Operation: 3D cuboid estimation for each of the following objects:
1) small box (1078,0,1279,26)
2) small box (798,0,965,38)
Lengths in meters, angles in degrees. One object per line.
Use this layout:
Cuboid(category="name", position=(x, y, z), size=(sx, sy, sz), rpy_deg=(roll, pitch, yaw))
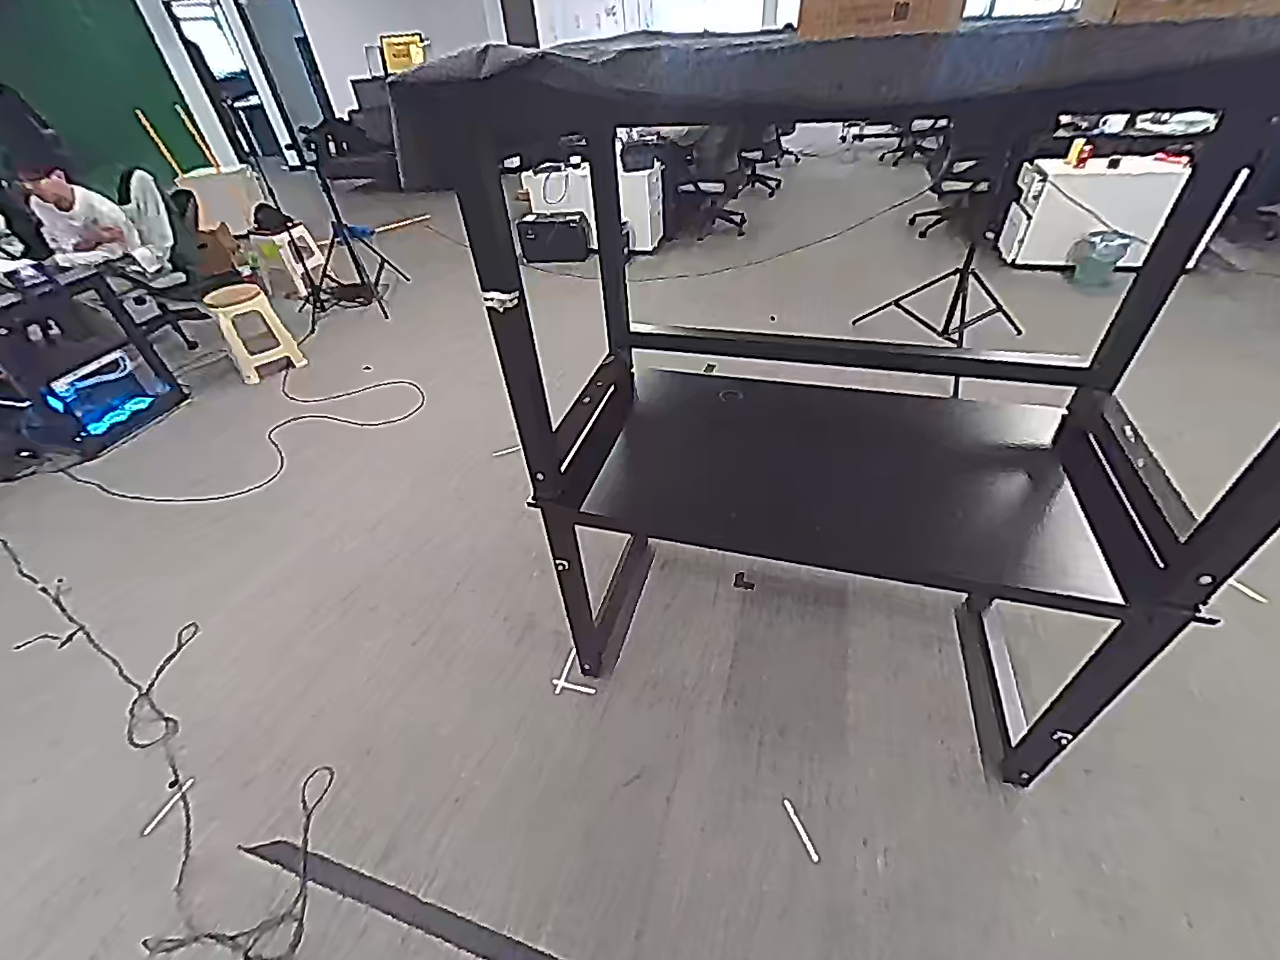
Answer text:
Cuboid(category="small box", position=(0.557, -0.546, 0.508), size=(0.168, 0.176, 0.179), rpy_deg=(11, 41, 18))
Cuboid(category="small box", position=(0.270, -0.588, 0.581), size=(0.168, 0.176, 0.179), rpy_deg=(9, 40, 16))
